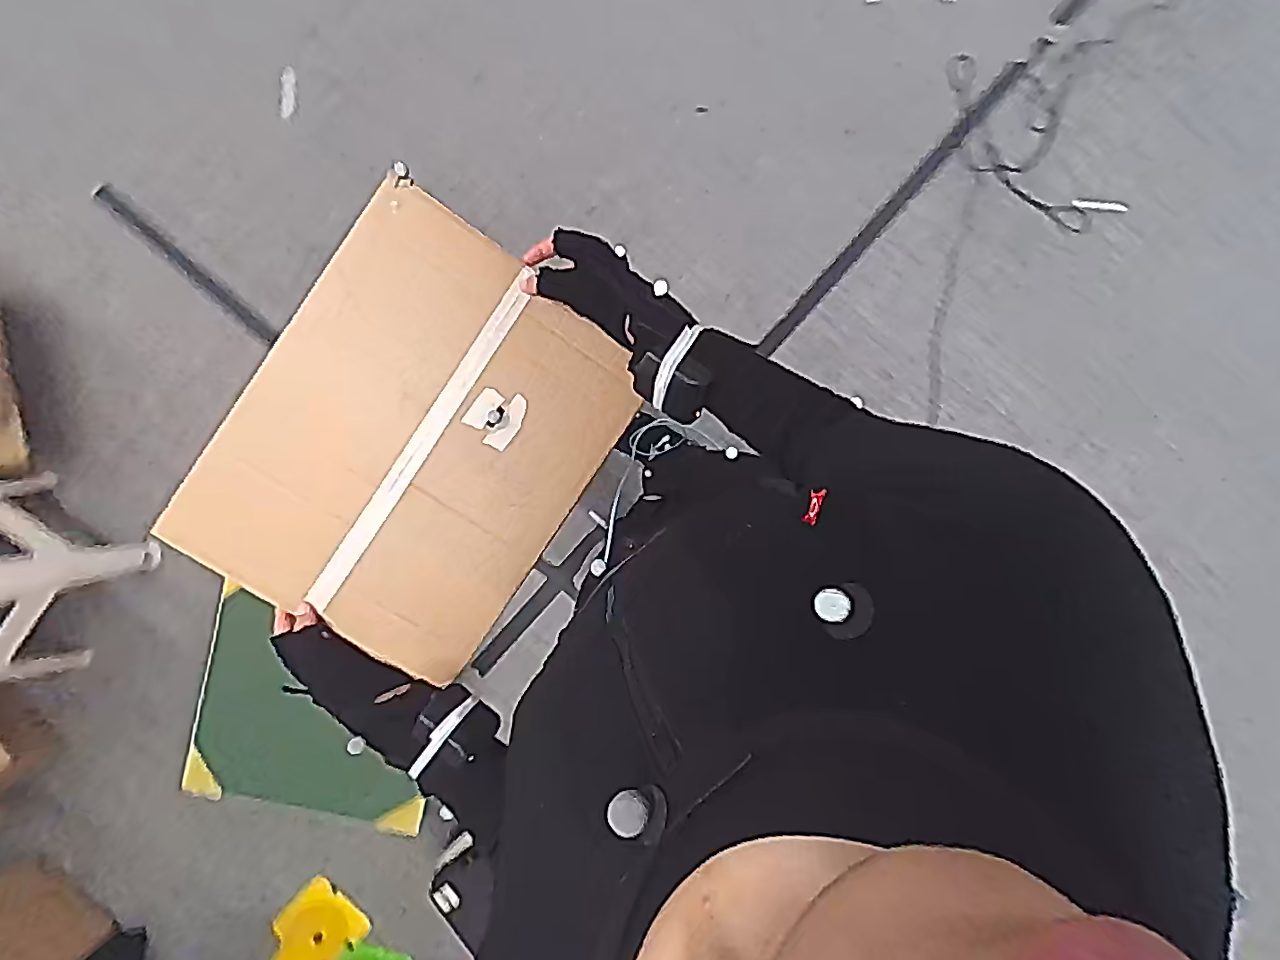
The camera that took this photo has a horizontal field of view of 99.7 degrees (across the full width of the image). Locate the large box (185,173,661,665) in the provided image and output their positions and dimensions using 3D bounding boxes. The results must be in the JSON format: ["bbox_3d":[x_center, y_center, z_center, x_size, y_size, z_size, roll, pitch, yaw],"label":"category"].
[{"bbox_3d":[-0.228,-0.063,0.690,0.320,0.320,0.408,36,90,-10],"label":"large box"}]
